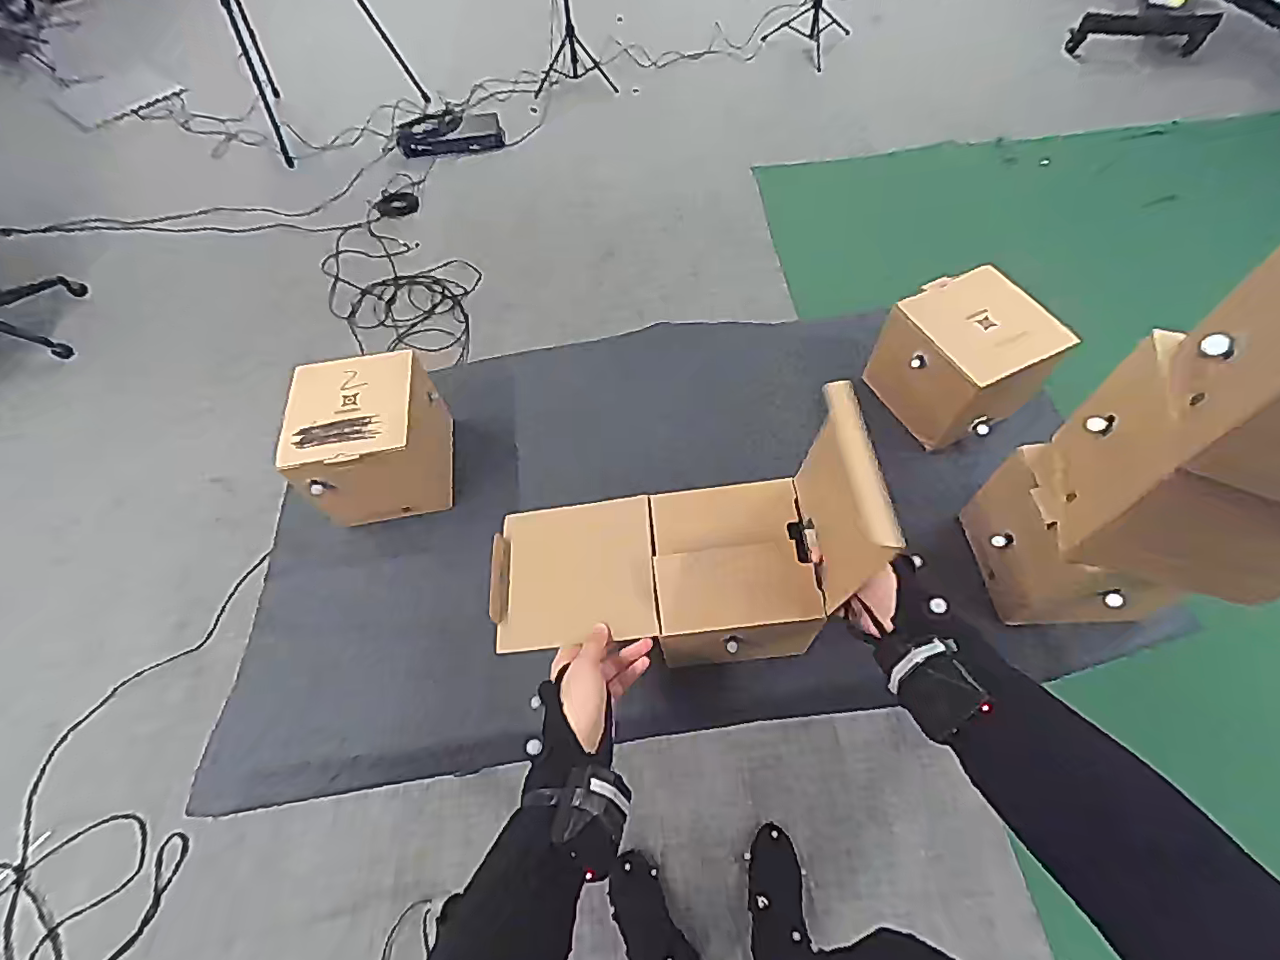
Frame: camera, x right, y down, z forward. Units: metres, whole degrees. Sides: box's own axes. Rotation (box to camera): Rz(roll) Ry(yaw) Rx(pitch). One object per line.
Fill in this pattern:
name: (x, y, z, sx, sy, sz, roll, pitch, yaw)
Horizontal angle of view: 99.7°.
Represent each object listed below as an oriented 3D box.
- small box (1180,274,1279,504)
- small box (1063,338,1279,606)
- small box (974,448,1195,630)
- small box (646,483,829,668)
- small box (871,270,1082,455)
small box: (0.526, -0.073, 0.356, 0.179, 0.176, 0.168, 24, 61, 19)
small box: (0.535, -0.002, 0.507, 0.179, 0.176, 0.168, 16, 59, 13)
small box: (0.539, 0.075, 0.652, 0.179, 0.176, 0.168, -3, 56, 2)
small box: (0.107, 0.122, 0.648, 0.179, 0.176, 0.168, -7, 61, 3)
small box: (0.477, -0.169, 0.804, 0.168, 0.176, 0.179, -23, 62, -7)
